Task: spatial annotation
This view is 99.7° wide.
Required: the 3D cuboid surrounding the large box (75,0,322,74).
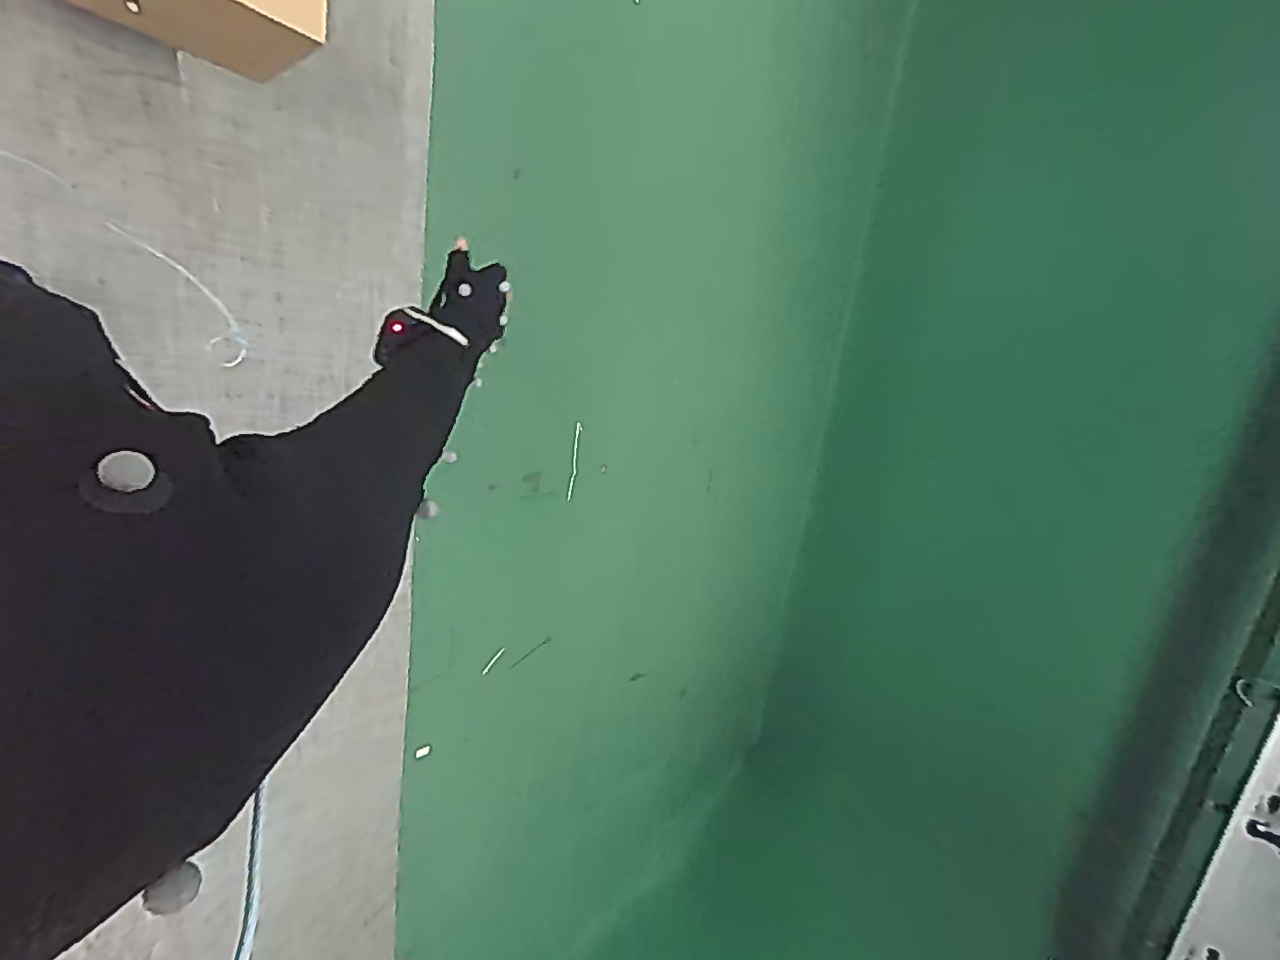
[{"bbox_3d":[-0.716,-0.858,0.758,0.408,0.320,0.320,-6,108,-50],"label":"large box"}]
